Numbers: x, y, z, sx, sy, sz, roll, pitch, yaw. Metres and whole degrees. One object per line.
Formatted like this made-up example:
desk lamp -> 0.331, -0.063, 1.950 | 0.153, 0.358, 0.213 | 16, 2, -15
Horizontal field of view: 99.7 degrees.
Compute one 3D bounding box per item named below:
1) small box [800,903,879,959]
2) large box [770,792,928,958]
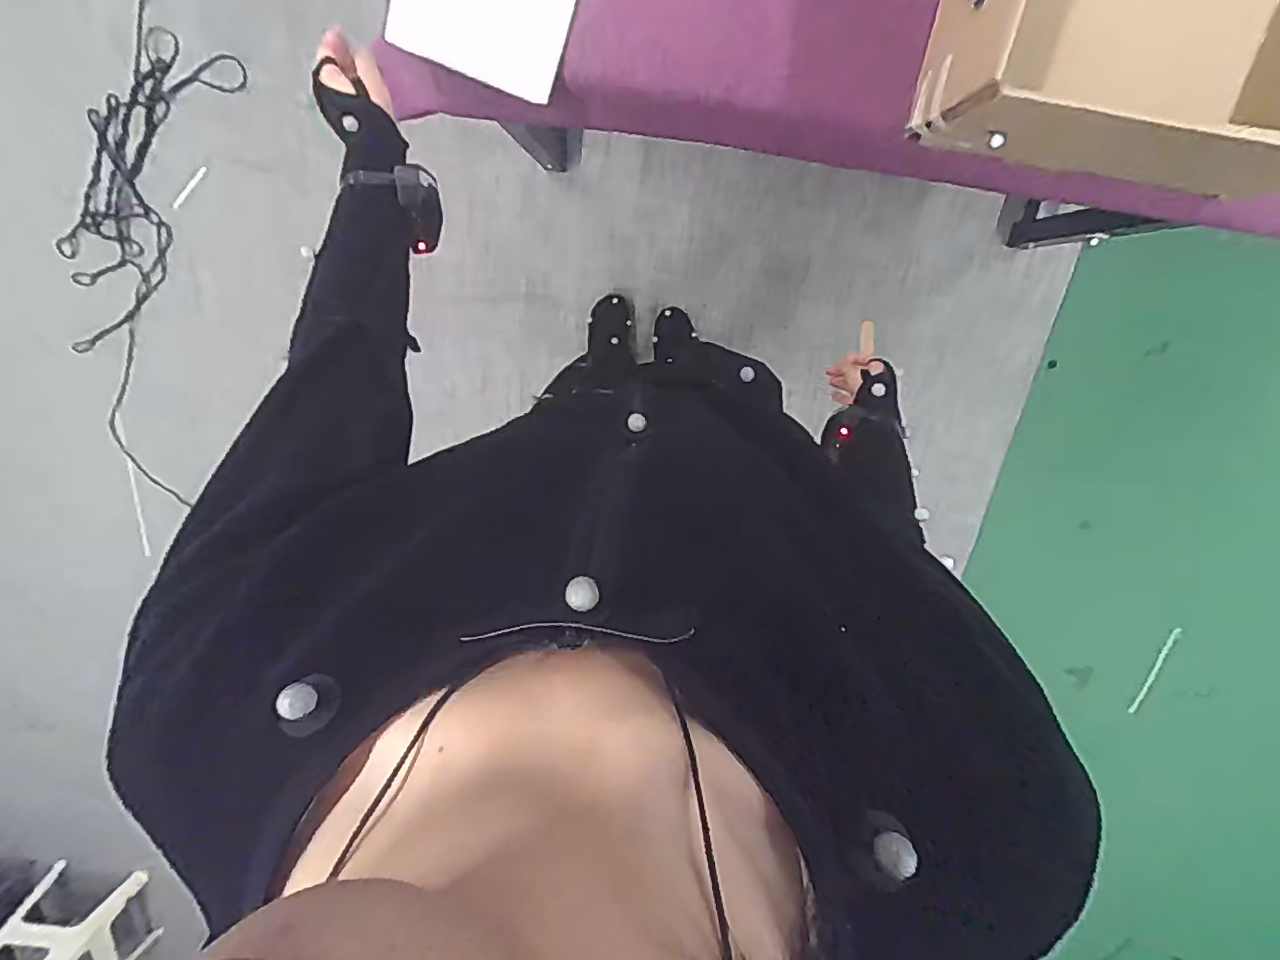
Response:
small box -> 0.558, 1.336, 1.526 | 0.179, 0.176, 0.168 | -1, 108, 4
large box -> 0.658, 1.270, 1.757 | 0.408, 0.320, 0.320 | -6, 108, 4
